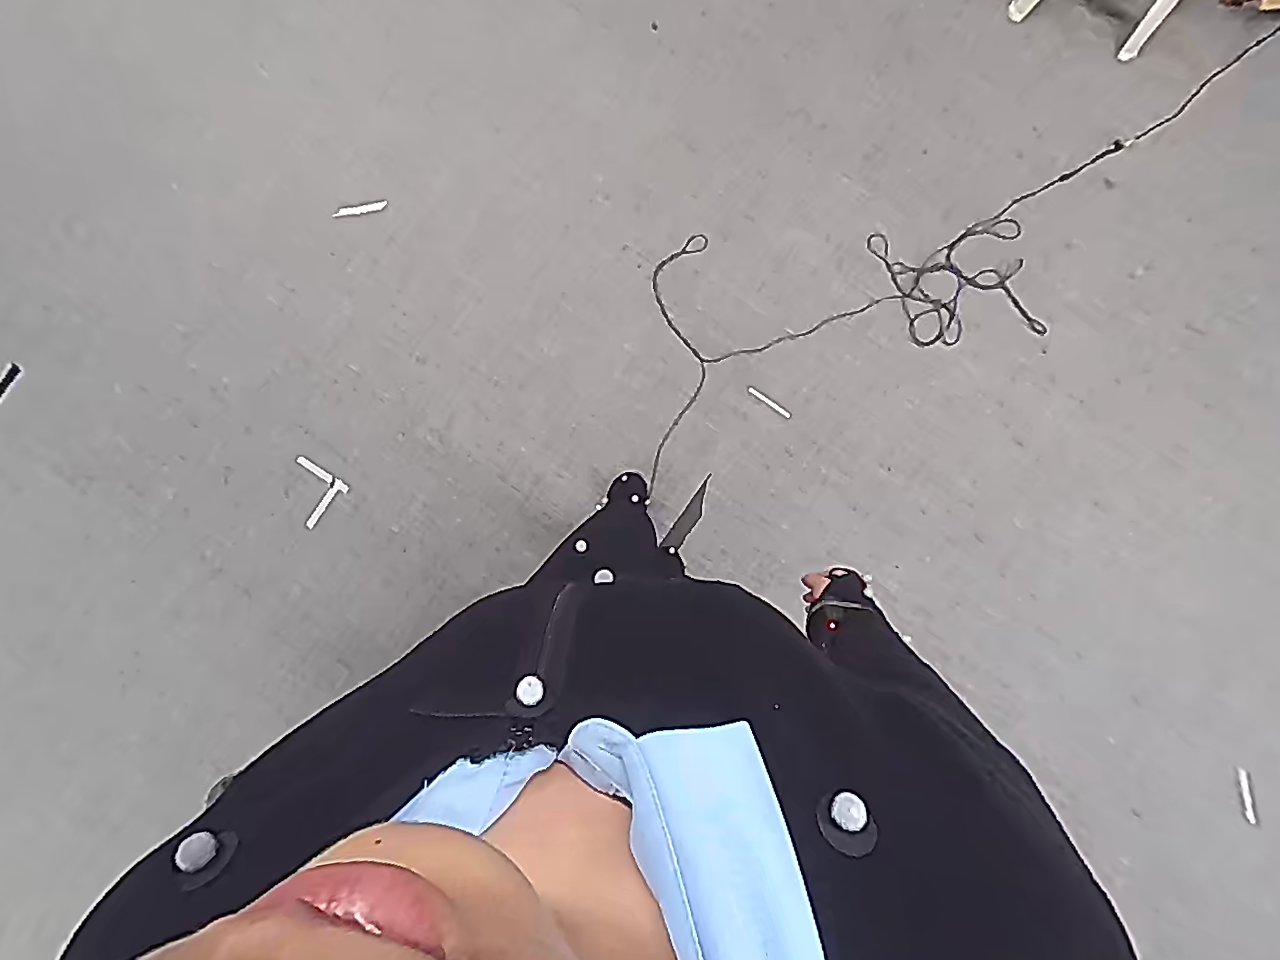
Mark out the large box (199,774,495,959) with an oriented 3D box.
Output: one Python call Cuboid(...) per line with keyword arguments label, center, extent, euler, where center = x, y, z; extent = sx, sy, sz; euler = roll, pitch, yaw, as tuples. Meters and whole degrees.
Cuboid(label="large box", center=(-0.583, 0.917, 1.127), extent=(0.408, 0.320, 0.320), euler=(36, 87, 3))
